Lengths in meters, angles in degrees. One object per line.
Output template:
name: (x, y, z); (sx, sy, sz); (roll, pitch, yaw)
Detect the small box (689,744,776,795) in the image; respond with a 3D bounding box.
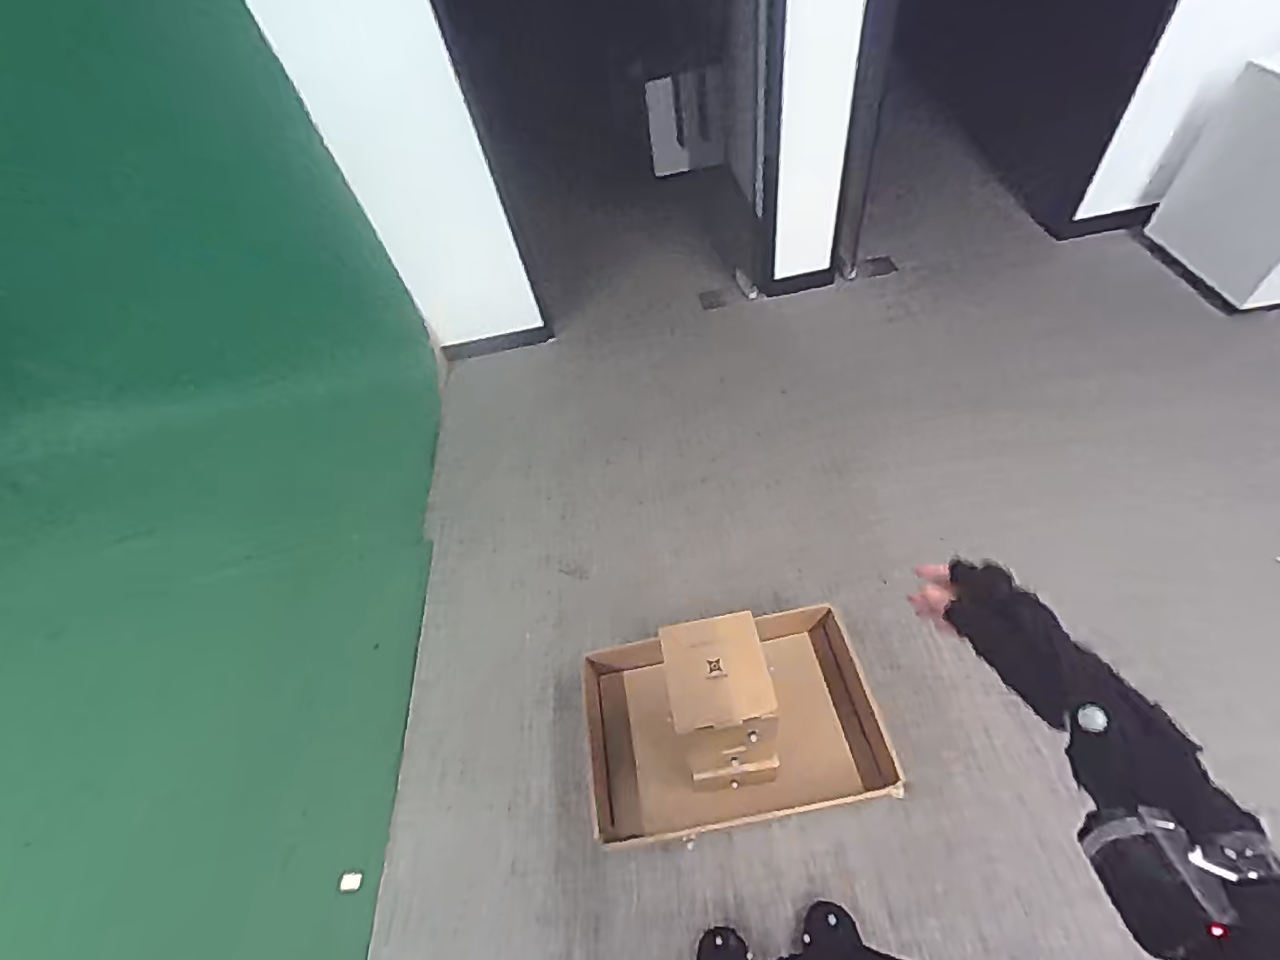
small box: (0.193, 0.586, 1.199); (0.179, 0.176, 0.168); (-11, 50, 4)

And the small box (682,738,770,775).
small box: (0.159, 0.476, 1.086); (0.168, 0.176, 0.179); (-15, 50, 1)

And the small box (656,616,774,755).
small box: (0.130, 0.365, 0.945); (0.168, 0.176, 0.179); (-11, 49, 1)
